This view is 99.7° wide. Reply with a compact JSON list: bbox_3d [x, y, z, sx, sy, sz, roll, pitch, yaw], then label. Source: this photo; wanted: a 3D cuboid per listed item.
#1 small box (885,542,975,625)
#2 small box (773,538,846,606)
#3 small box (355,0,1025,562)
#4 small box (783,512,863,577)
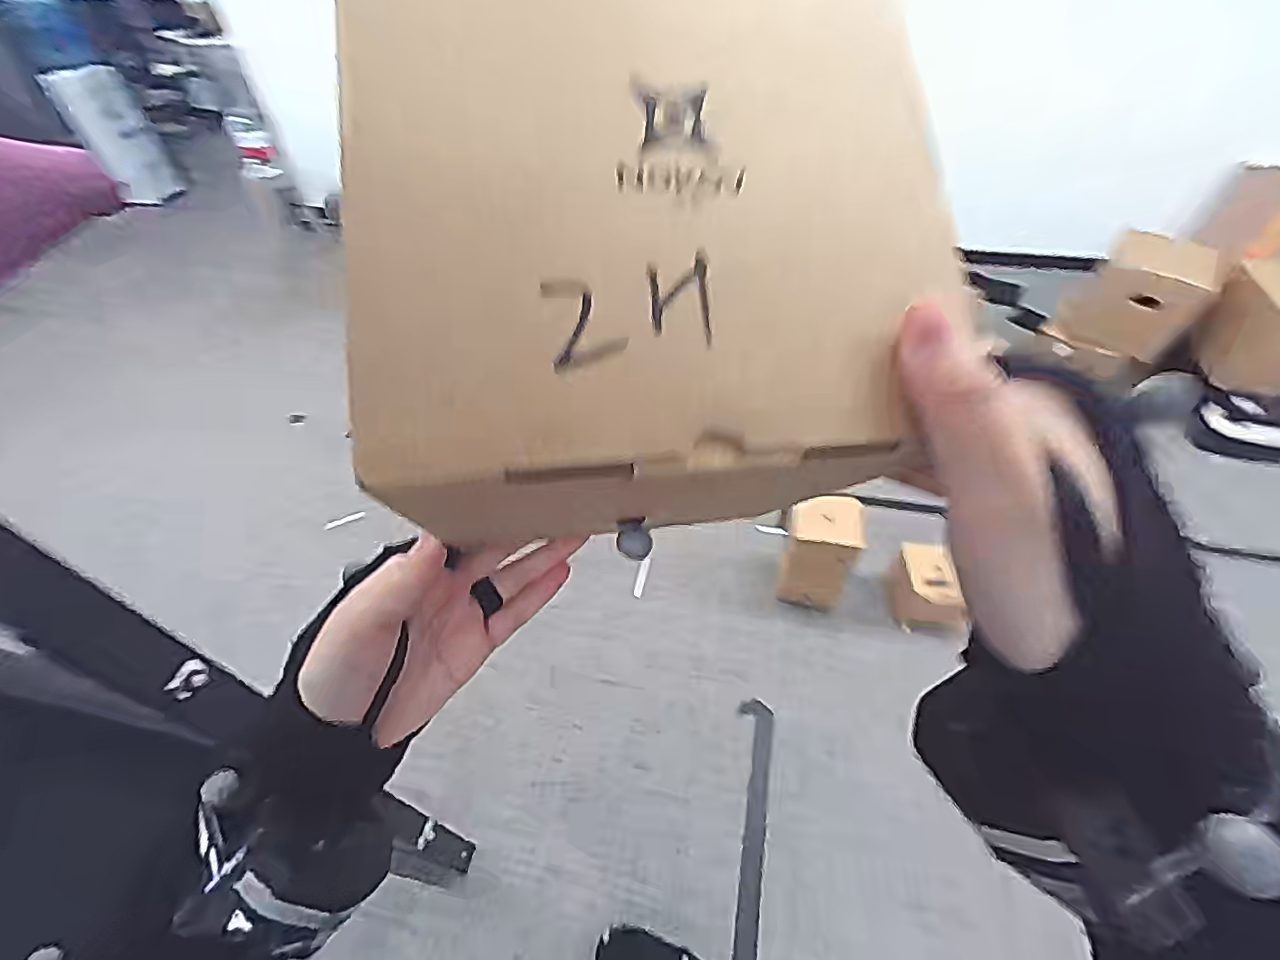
[{"bbox_3d":[0.837,0.305,1.579,0.168,0.176,0.179,4,48,5],"label":"small box"},{"bbox_3d":[0.508,0.261,1.627,0.179,0.176,0.168,9,49,9],"label":"small box"},{"bbox_3d":[-0.002,-0.065,0.218,0.168,0.176,0.179,-4,79,-12],"label":"small box"},{"bbox_3d":[0.502,0.153,1.504,0.179,0.176,0.168,7,48,9],"label":"small box"}]
